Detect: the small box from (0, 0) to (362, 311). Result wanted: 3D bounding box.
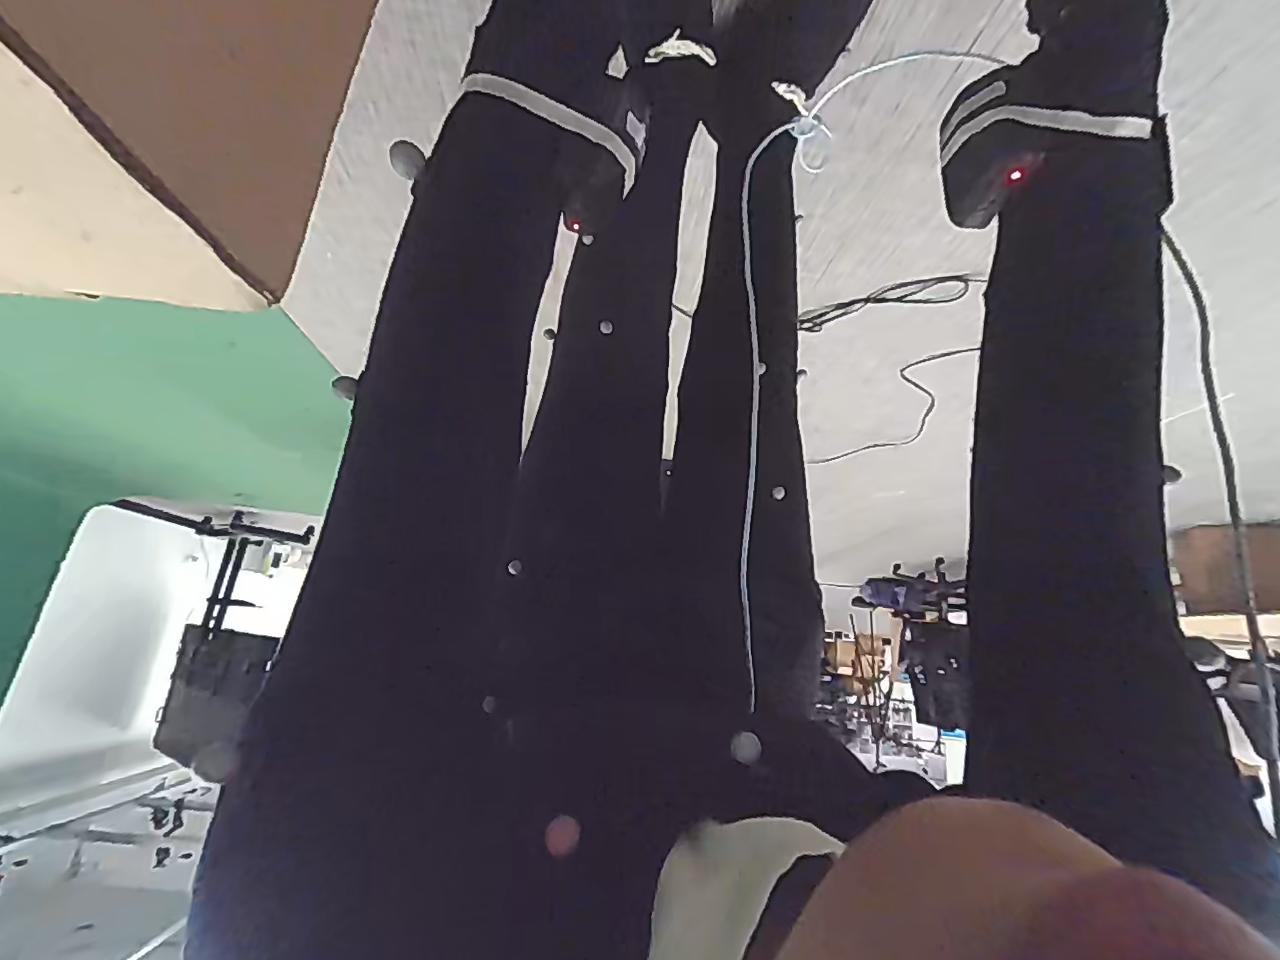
[{"bbox_3d":[-0.172,-0.158,0.098,0.168,0.176,0.179,4,163,-1],"label":"small box"}]
